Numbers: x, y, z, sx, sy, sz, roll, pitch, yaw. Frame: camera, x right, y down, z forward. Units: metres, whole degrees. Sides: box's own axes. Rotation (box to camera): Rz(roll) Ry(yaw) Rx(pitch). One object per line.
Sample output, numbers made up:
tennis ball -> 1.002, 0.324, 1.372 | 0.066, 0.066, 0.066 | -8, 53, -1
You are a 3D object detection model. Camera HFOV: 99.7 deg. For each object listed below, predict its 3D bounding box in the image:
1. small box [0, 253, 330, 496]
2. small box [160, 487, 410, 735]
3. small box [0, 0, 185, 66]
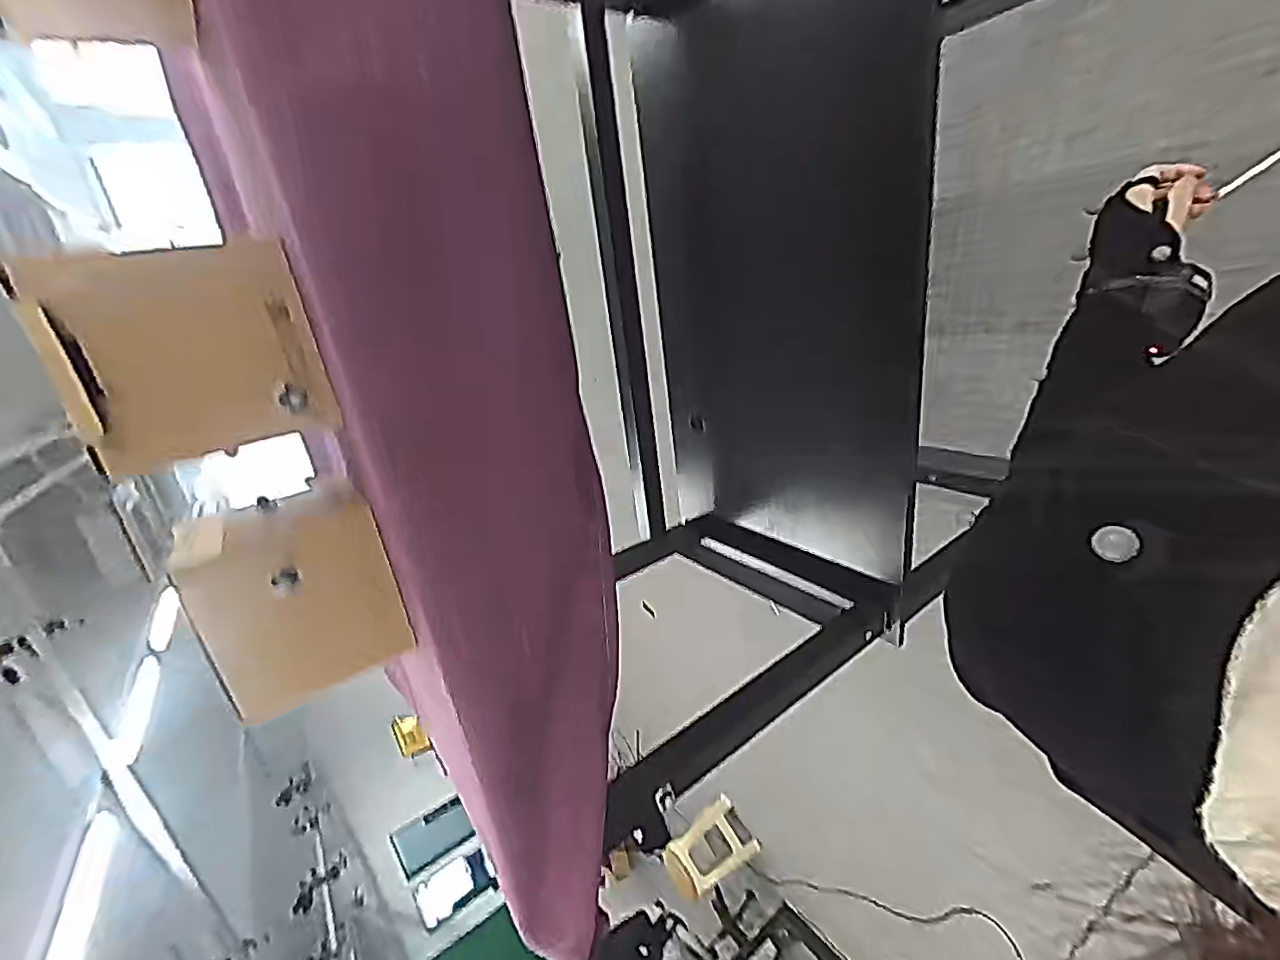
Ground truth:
small box -> -0.403, -0.100, 0.494 | 0.179, 0.176, 0.168 | 14, 120, 55
small box -> -0.375, 0.123, 0.589 | 0.168, 0.176, 0.179 | 21, 126, 52
small box -> -0.440, -0.403, 0.362 | 0.179, 0.176, 0.168 | 25, 130, 50
